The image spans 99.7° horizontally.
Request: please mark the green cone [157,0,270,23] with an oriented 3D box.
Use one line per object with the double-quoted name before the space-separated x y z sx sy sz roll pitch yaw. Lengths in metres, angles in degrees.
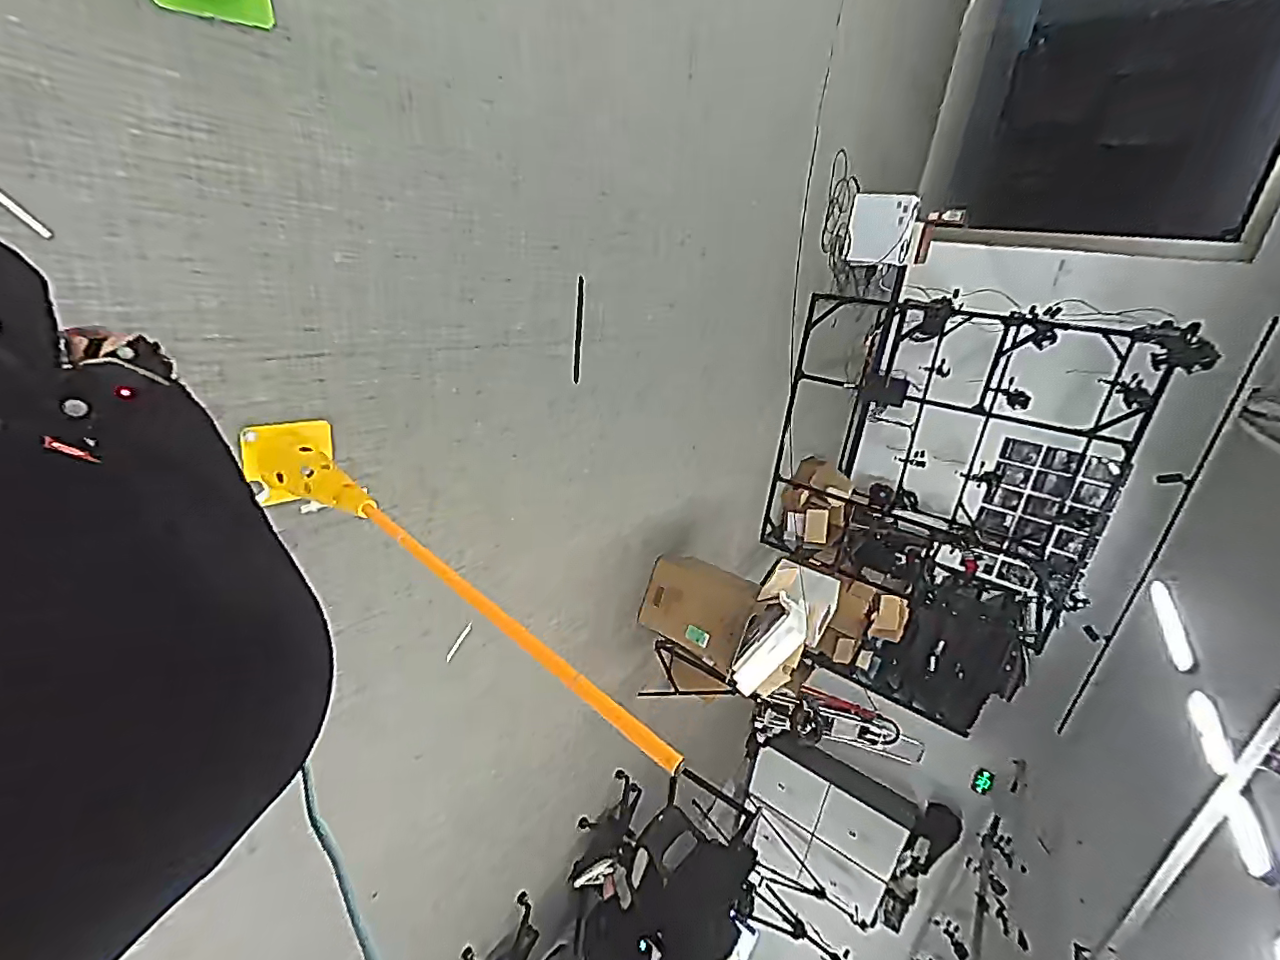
"green cone" -0.634 -0.879 0.850 0.200 0.368 0.202 -33 135 -45
